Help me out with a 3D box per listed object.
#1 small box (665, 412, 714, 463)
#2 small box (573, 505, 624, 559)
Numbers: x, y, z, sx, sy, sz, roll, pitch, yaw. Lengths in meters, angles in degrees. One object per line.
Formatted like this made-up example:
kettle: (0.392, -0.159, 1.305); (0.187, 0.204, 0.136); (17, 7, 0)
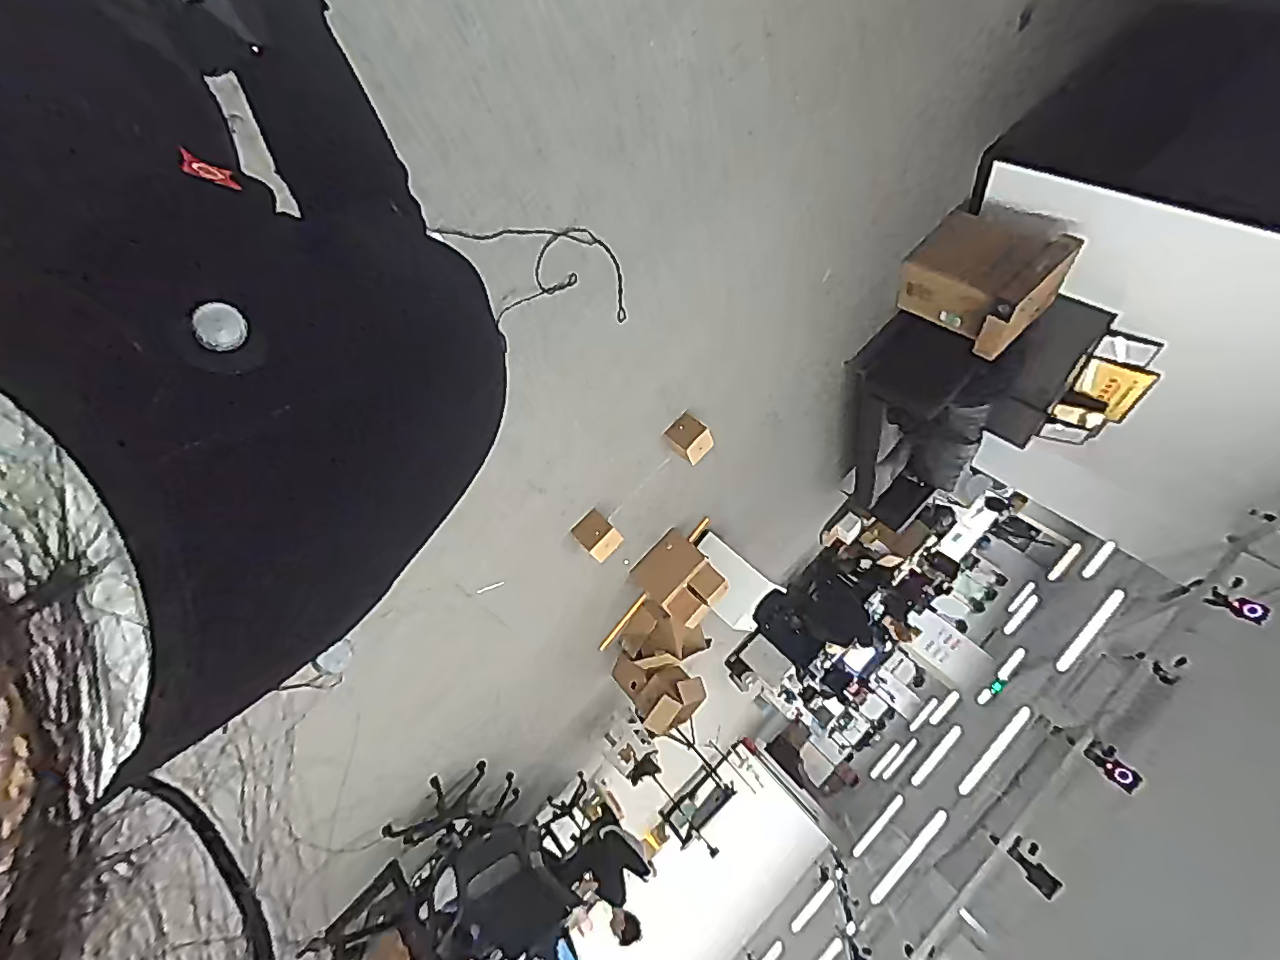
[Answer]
small box: (0.258, -0.227, 2.818); (0.168, 0.176, 0.179); (-45, 149, -7)
small box: (-0.217, 0.263, 2.753); (0.179, 0.176, 0.168); (-46, 149, -7)
